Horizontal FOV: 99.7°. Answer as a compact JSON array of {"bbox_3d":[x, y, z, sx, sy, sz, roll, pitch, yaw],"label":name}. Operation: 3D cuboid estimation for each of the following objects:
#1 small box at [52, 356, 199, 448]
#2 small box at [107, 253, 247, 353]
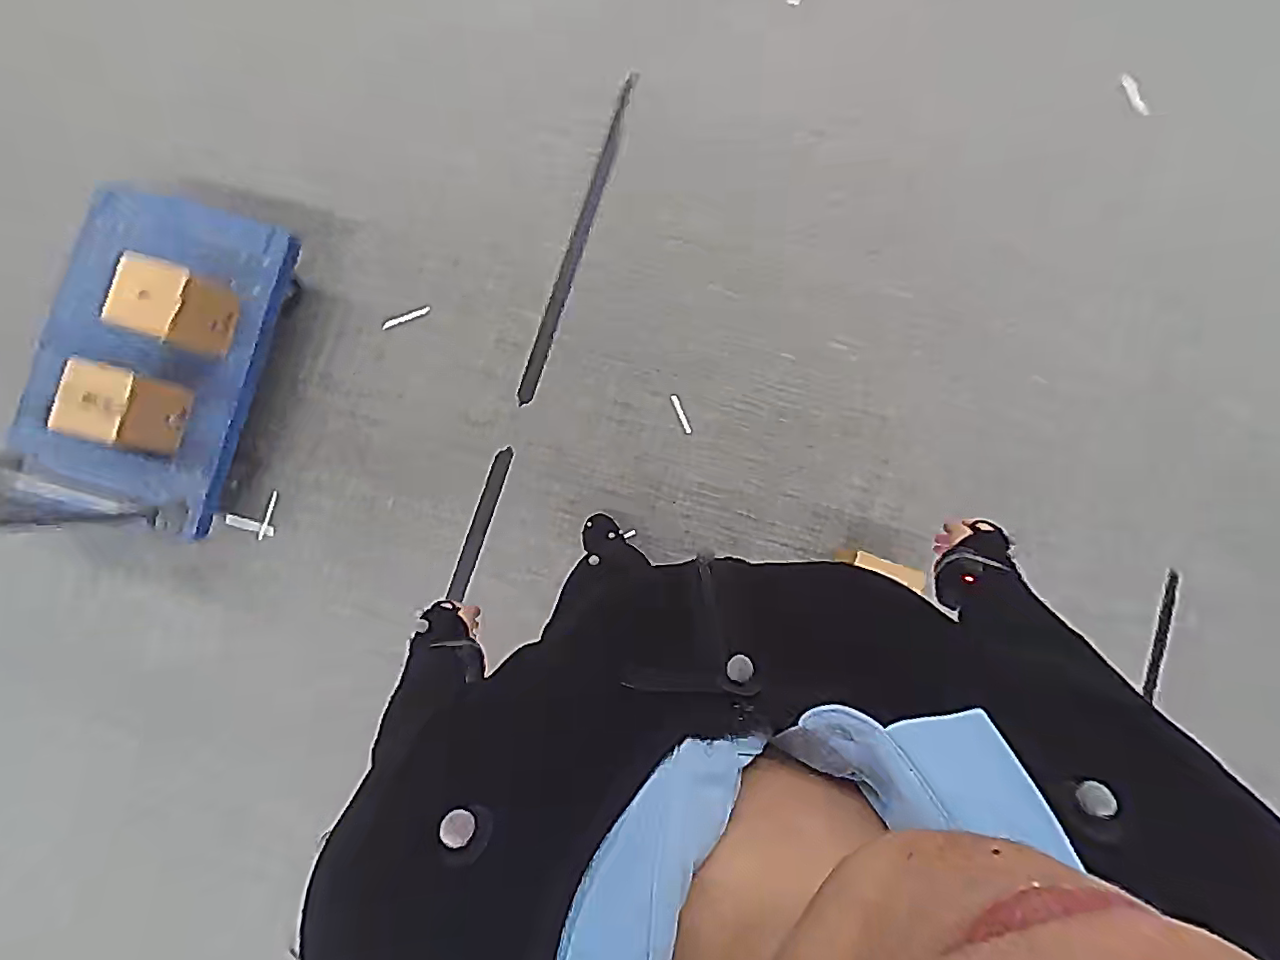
[{"bbox_3d":[-1.257,-0.184,1.333,0.179,0.176,0.168,15,87,4],"label":"small box"},{"bbox_3d":[-1.144,-0.433,1.349,0.179,0.176,0.168,16,86,4],"label":"small box"}]
